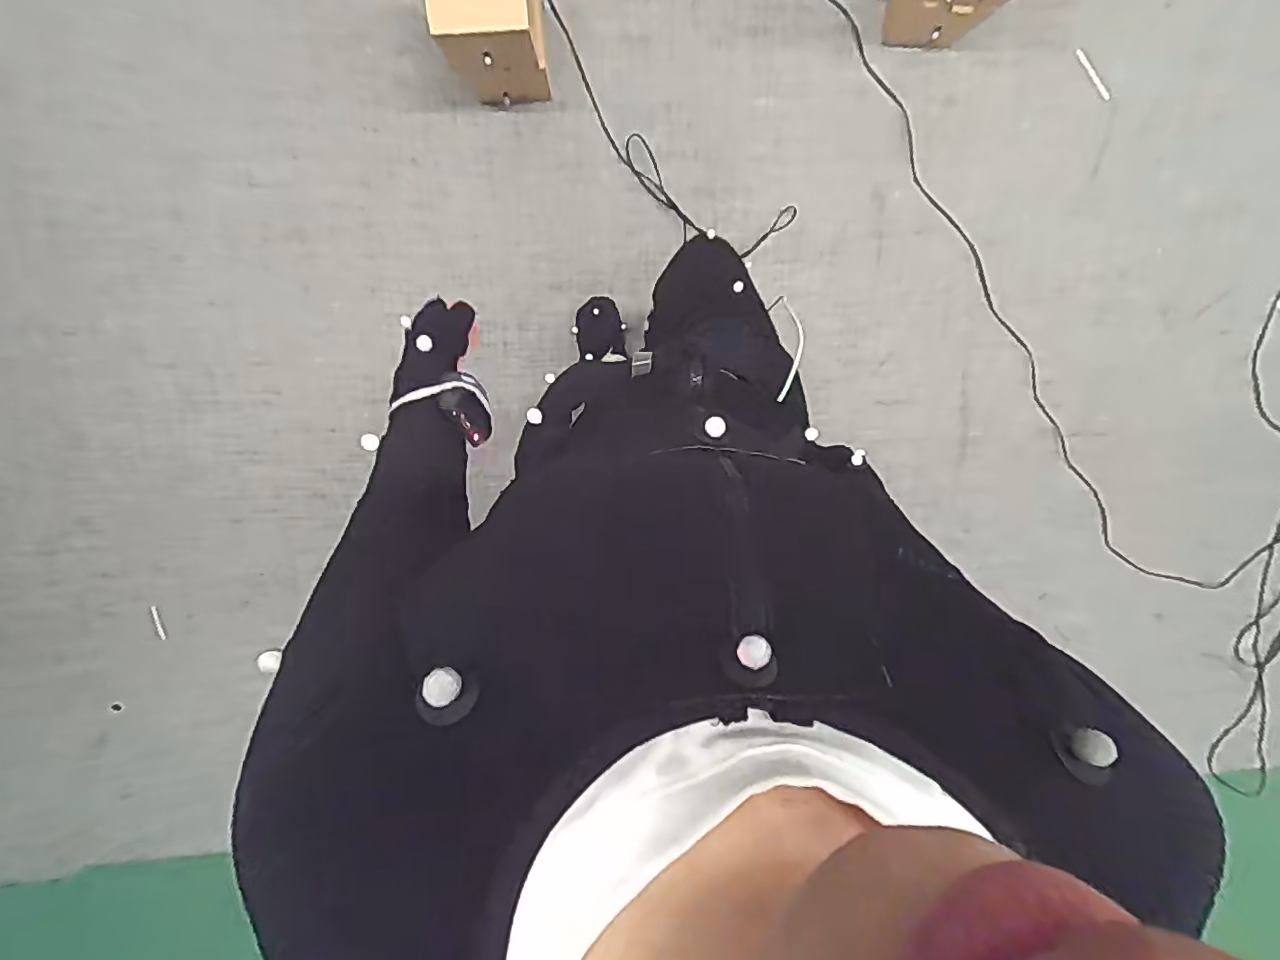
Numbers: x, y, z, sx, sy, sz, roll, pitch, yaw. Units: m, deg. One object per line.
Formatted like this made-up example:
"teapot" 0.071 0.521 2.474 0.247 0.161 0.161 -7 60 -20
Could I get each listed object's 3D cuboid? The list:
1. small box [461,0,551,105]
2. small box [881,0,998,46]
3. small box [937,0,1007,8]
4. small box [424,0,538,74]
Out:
"small box" -0.278 -0.898 1.104 0.168 0.176 0.179 -4 109 -2
"small box" 0.626 -1.039 1.126 0.168 0.176 0.179 -4 110 -6
"small box" 0.643 -0.992 0.967 0.168 0.176 0.179 0 107 -4
"small box" -0.277 -0.843 0.950 0.168 0.176 0.179 -5 108 -3
